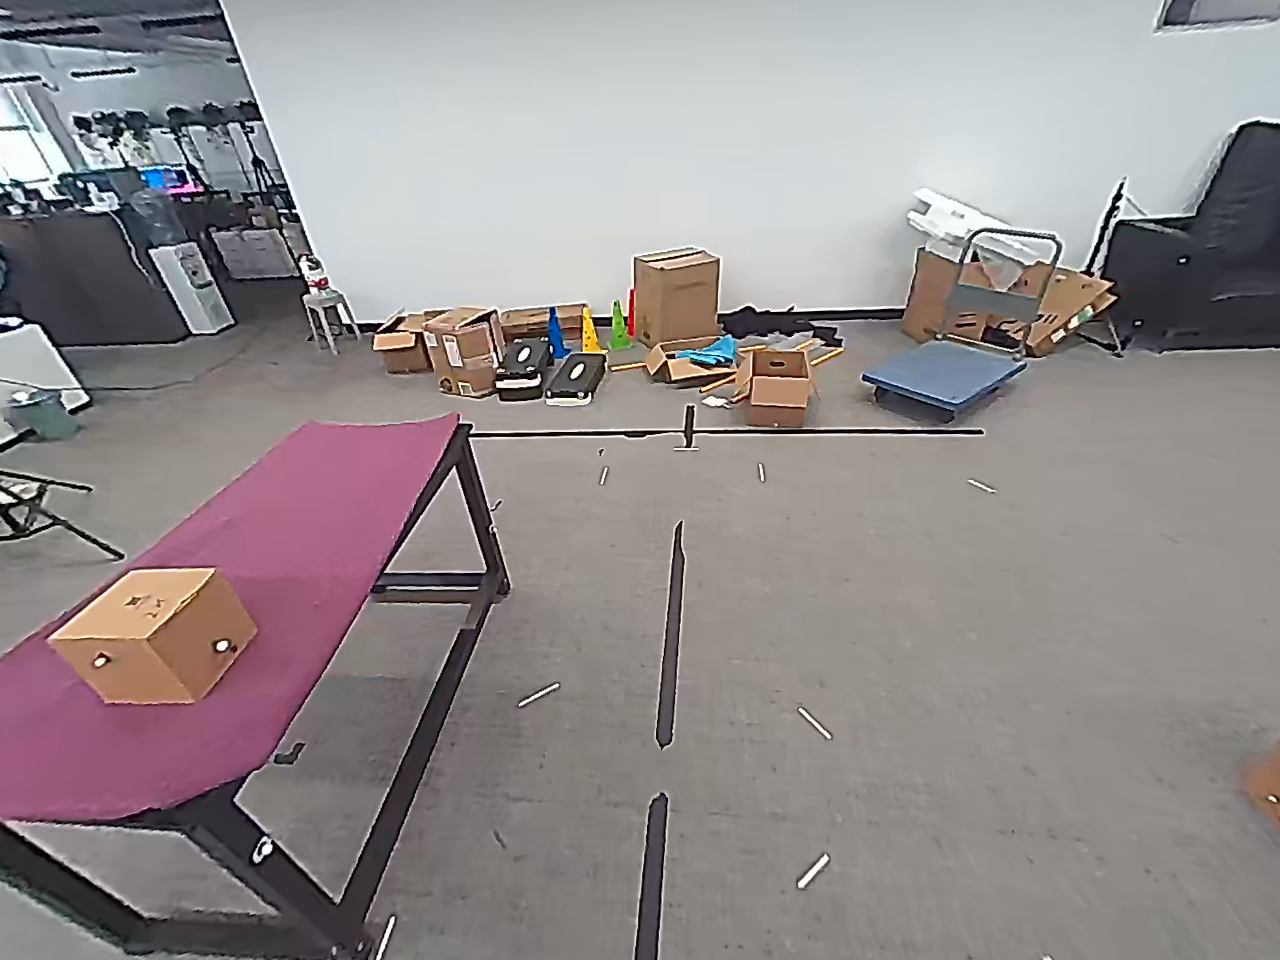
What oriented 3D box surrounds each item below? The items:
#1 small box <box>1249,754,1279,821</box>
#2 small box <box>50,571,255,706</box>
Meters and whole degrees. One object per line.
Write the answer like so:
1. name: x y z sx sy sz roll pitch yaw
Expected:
1. small box: 1.660 0.762 1.299 0.179 0.176 0.168 -3 33 2
2. small box: -0.846 0.280 0.960 0.179 0.176 0.168 -1 33 4
